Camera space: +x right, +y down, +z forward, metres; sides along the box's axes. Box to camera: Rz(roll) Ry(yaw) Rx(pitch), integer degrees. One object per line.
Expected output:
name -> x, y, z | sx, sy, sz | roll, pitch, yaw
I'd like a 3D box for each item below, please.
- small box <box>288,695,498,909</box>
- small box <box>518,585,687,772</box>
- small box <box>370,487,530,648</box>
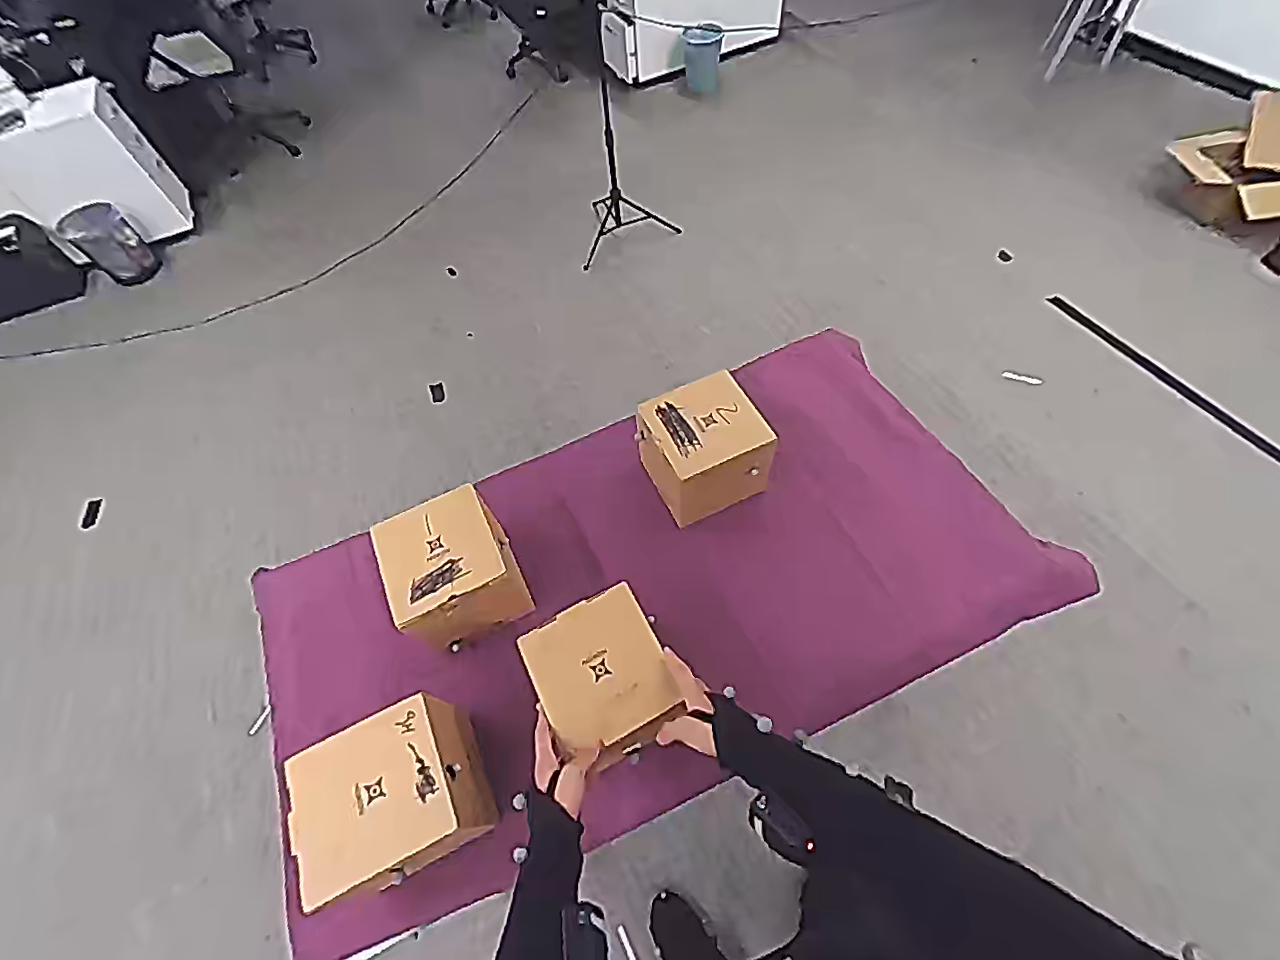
small box -> -0.310, 0.408, 0.700 | 0.179, 0.176, 0.168 | -25, 61, -10
small box -> -0.047, 0.281, 0.755 | 0.168, 0.176, 0.179 | -27, 61, -9
small box -> -0.293, 0.148, 0.859 | 0.168, 0.176, 0.179 | -26, 60, -11
